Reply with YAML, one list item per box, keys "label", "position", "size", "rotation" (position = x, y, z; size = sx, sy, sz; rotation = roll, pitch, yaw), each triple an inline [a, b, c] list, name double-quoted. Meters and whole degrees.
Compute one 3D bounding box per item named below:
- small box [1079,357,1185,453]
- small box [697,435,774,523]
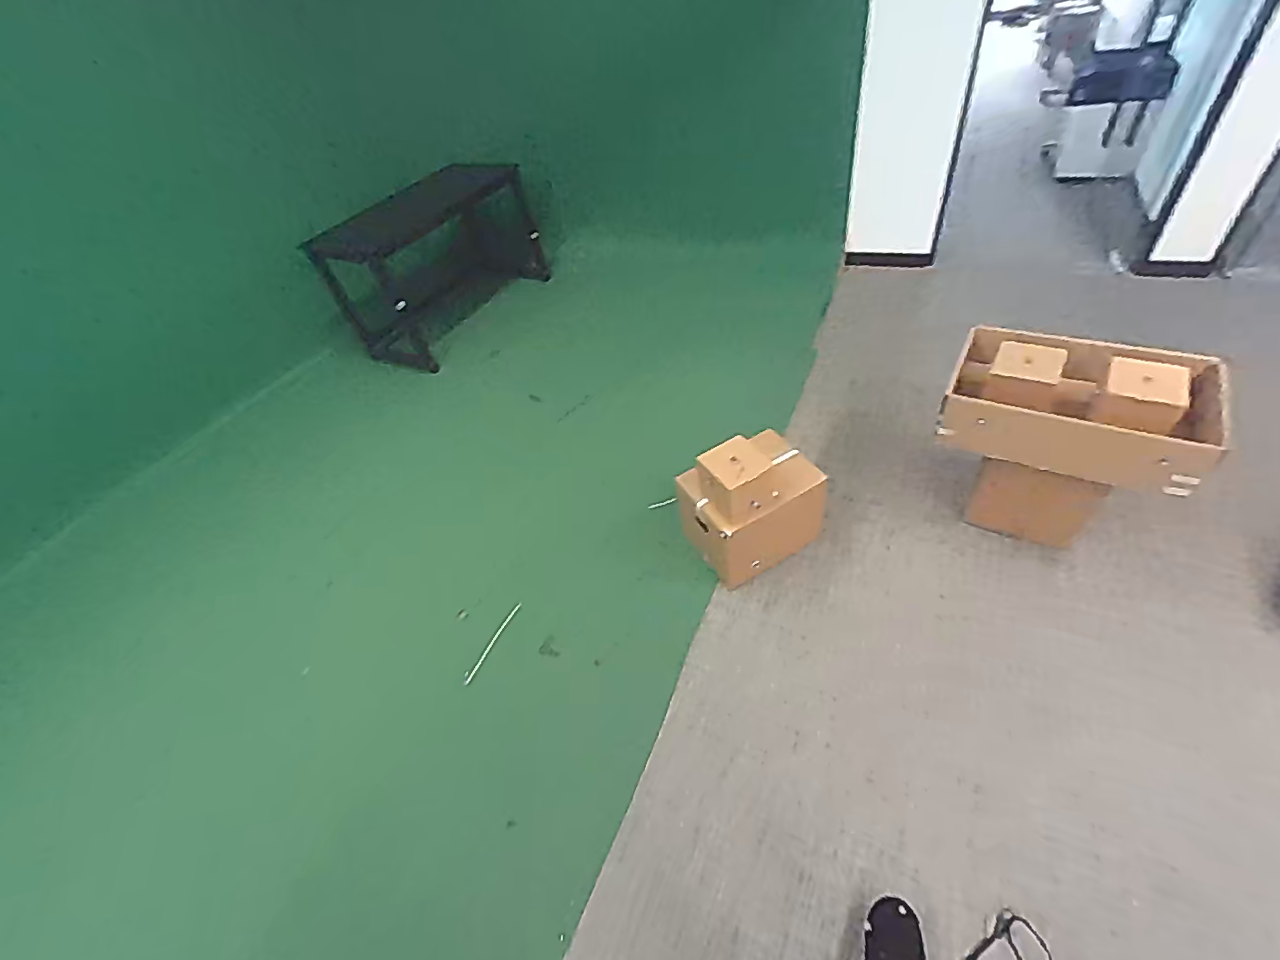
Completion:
- label: "small box"
  position: [1.352, -0.207, 1.492]
  size: [0.168, 0.176, 0.179]
  rotation: [20, 55, 28]
- label: "small box"
  position: [0.292, -0.002, 1.671]
  size: [0.168, 0.176, 0.179]
  rotation: [-28, 48, -15]
